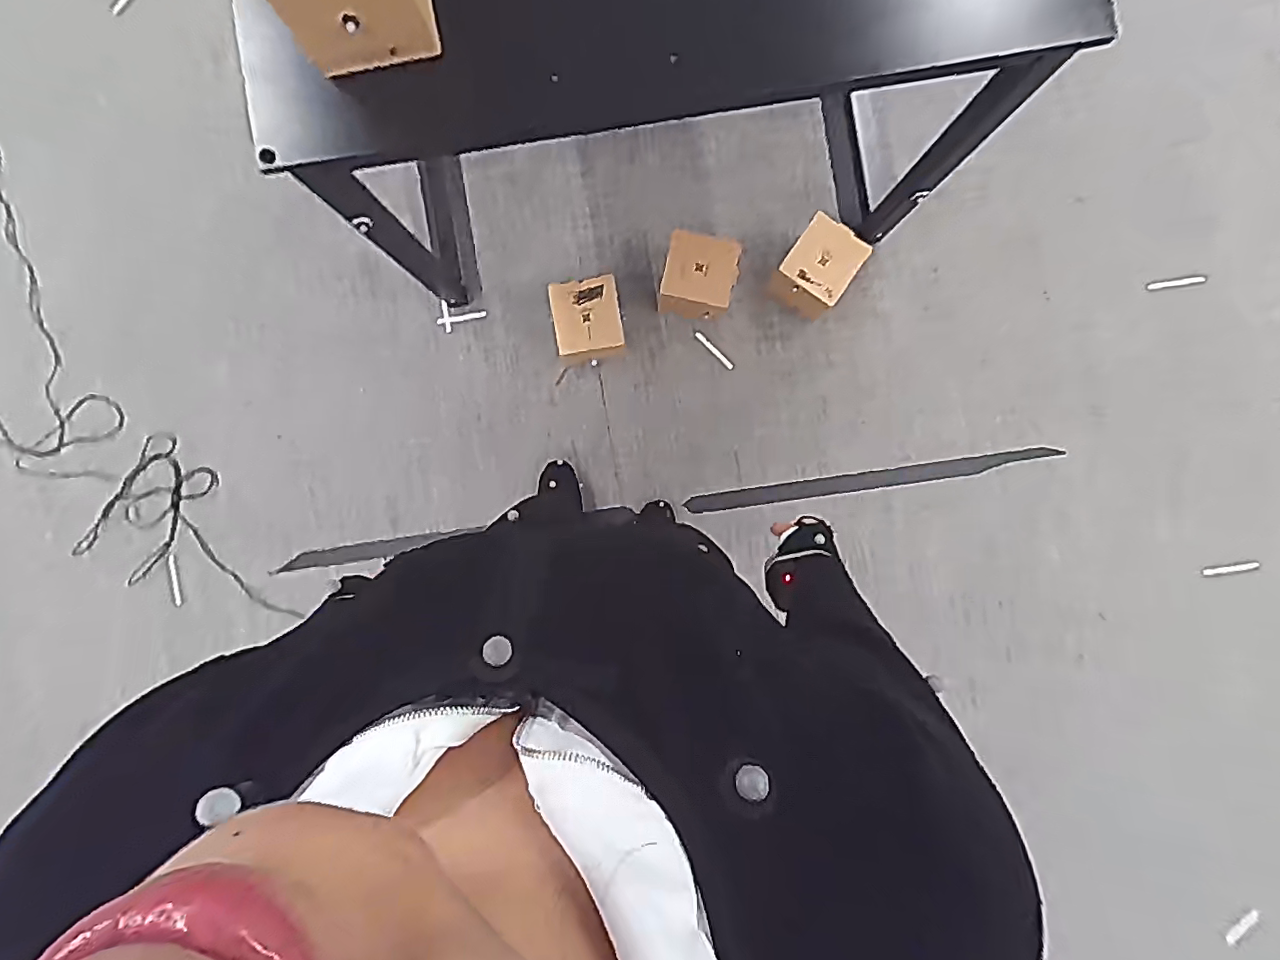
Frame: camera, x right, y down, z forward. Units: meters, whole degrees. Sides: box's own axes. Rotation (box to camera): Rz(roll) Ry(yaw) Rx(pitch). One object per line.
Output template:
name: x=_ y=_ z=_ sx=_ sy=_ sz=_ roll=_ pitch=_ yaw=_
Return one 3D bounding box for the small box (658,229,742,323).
small box: x=0.149 y=-0.519 z=1.404 sx=0.179 sy=0.176 sz=0.168 roll=12 pitch=91 yaw=1

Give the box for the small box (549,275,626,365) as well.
small box: x=-0.131 y=-0.409 z=1.406 sx=0.168 sy=0.176 sz=0.179 roll=-9 pitch=93 yaw=1

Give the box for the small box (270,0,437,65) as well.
small box: x=-0.370 y=-0.658 z=0.670 sx=0.168 sy=0.176 sz=0.179 roll=-11 pitch=91 yaw=0

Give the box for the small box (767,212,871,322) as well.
small box: x=0.452 y=-0.542 z=1.399 sx=0.168 sy=0.176 sz=0.179 roll=35 pitch=92 yaw=0
